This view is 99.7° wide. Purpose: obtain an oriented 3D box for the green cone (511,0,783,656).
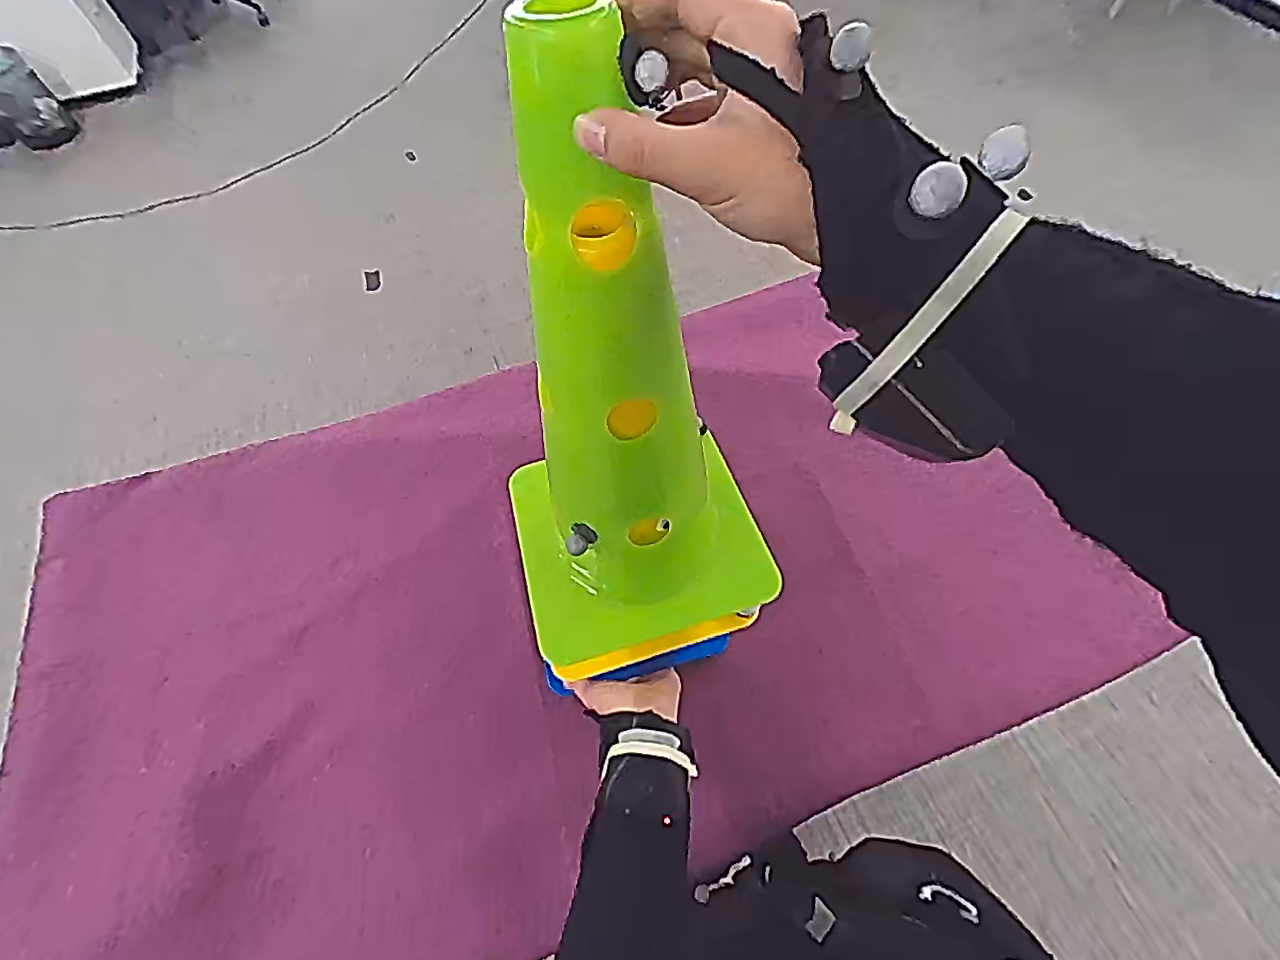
[{"bbox_3d":[-0.015,-0.065,0.325,0.200,0.368,0.202,-17,56,-6],"label":"green cone"}]
